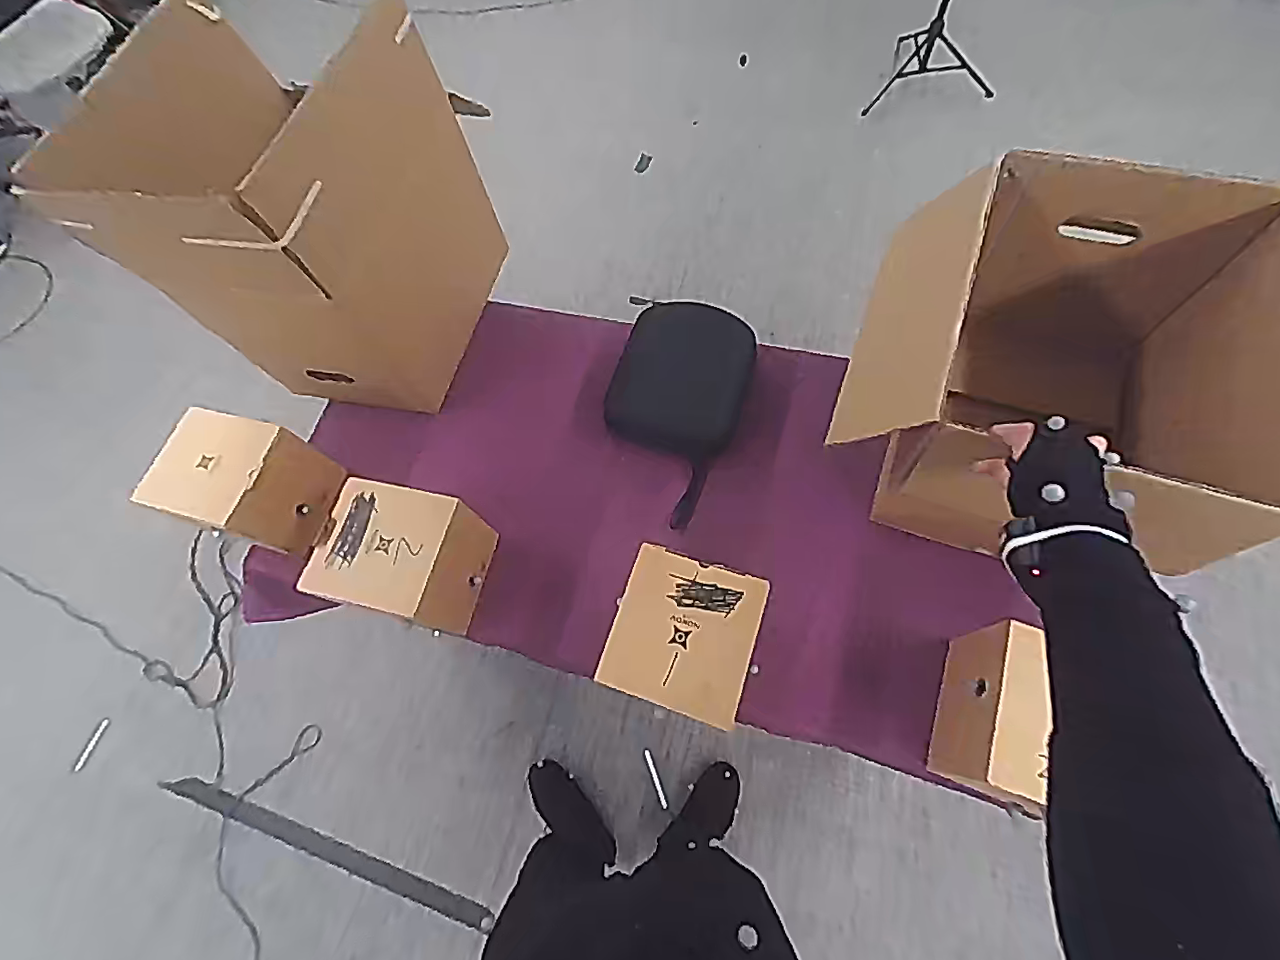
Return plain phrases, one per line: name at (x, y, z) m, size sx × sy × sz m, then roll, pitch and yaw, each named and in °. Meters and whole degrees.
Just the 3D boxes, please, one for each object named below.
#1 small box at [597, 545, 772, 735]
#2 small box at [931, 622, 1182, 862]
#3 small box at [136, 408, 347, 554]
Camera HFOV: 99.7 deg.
small box at (0.062, 0.210, 0.706) m, size 0.168 × 0.176 × 0.179 m, roll 16°, pitch 70°, yaw 14°
small box at (0.461, 0.288, 0.622) m, size 0.168 × 0.176 × 0.179 m, roll 19°, pitch 70°, yaw 15°
small box at (-0.626, 0.008, 0.875) m, size 0.179 × 0.176 × 0.168 m, roll 13°, pitch 69°, yaw 11°
